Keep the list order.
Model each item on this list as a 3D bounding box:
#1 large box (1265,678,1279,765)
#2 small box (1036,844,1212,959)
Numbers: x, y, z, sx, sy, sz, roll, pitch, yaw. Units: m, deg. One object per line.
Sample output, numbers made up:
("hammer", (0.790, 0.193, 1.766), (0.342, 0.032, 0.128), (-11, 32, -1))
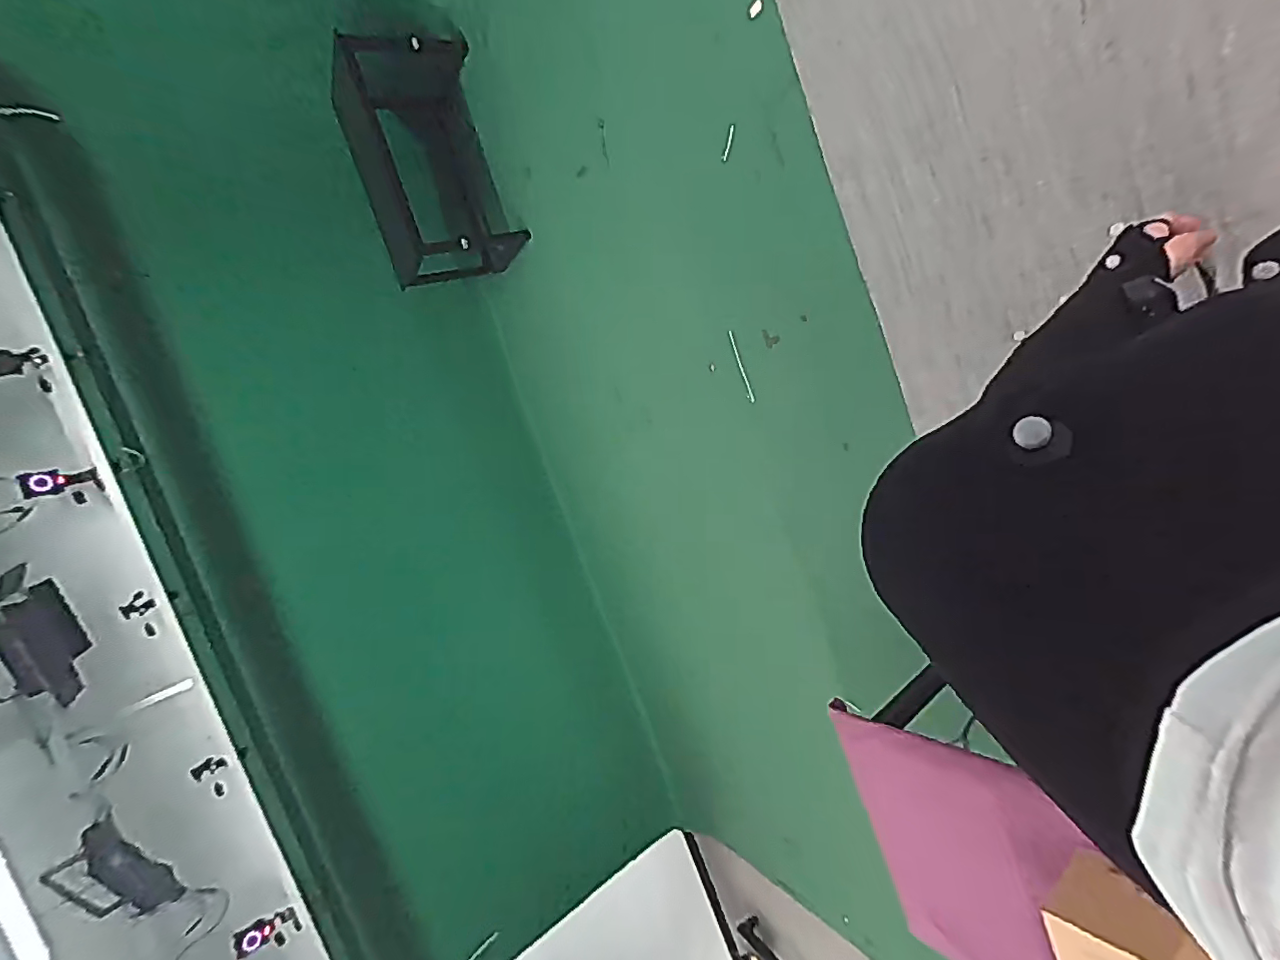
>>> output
("large box", (1.476, 0.562, 1.005), (0.320, 0.320, 0.408), (-13, 99, 61))
("small box", (0.805, 0.766, 0.896), (0.168, 0.176, 0.179), (-10, 102, 59))
